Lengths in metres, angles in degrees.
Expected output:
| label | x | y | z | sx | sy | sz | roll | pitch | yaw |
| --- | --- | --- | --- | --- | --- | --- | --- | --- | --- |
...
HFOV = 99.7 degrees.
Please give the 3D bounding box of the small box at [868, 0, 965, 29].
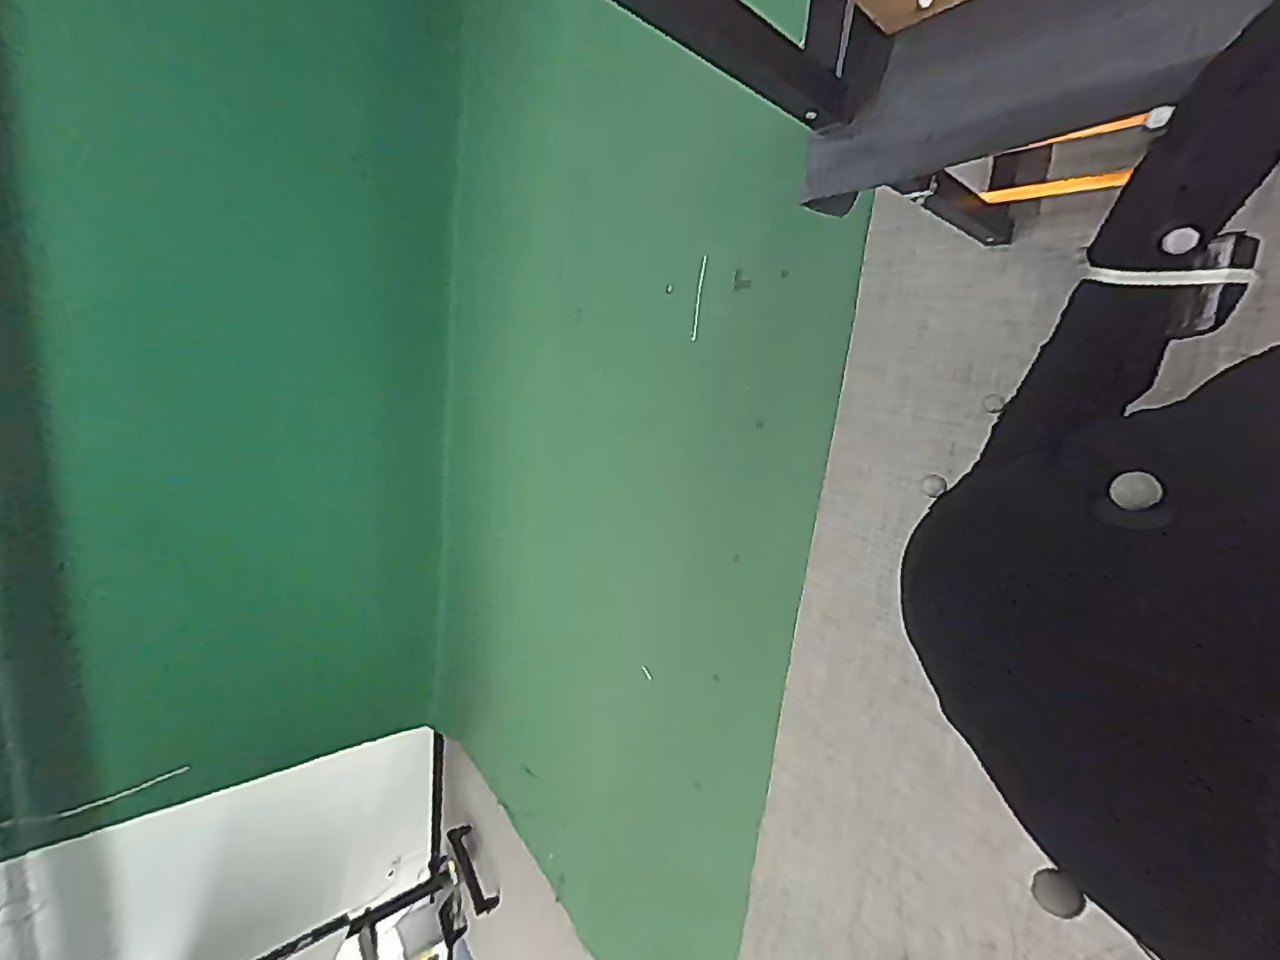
| label | x | y | z | sx | sy | sz | roll | pitch | yaw |
| --- | --- | --- | --- | --- | --- | --- | --- | --- | --- |
| small box | 0.353 | -0.704 | 0.646 | 0.168 | 0.176 | 0.179 | 15 | 104 | 49 |
